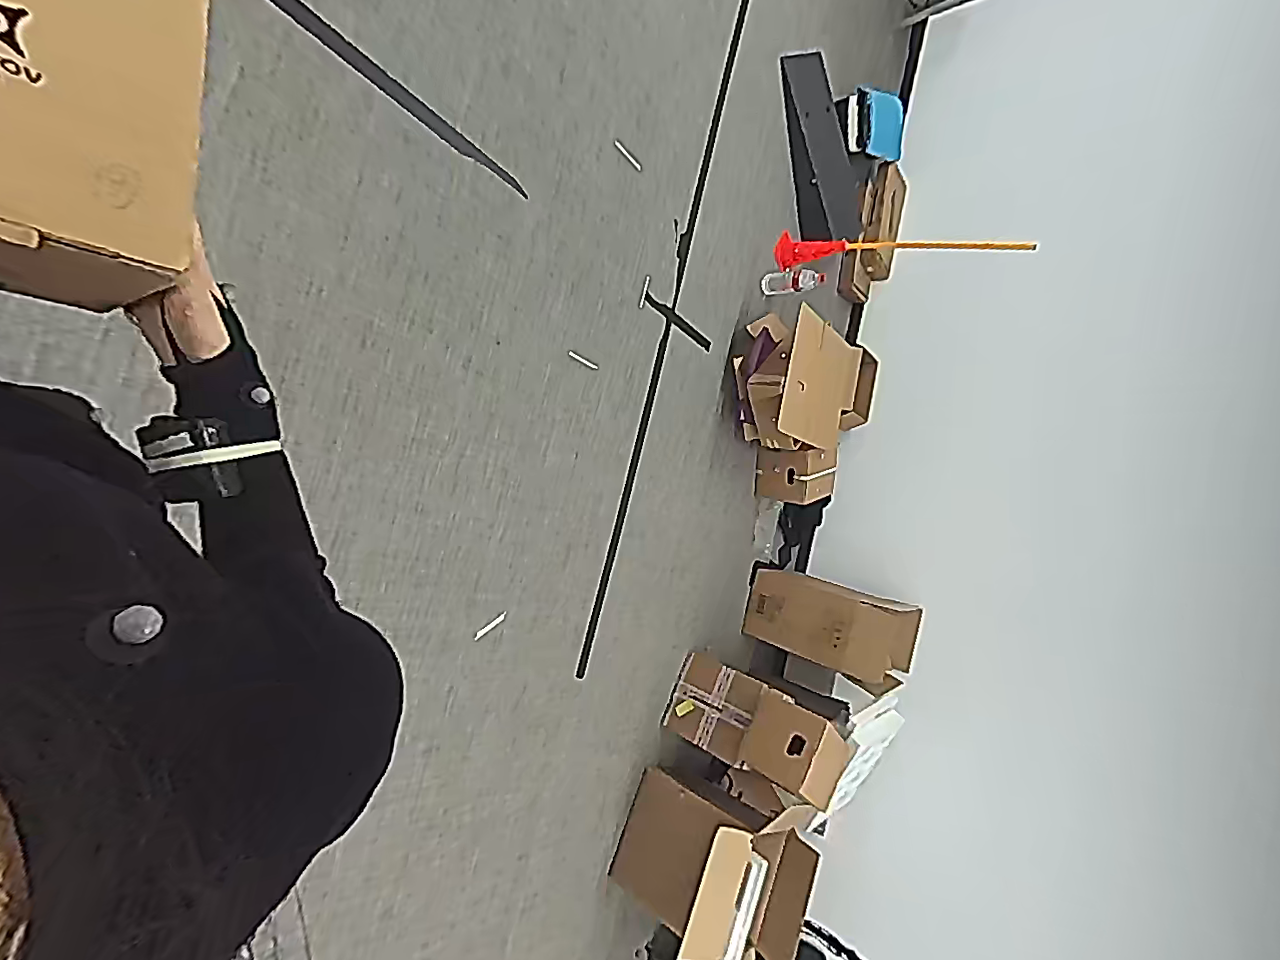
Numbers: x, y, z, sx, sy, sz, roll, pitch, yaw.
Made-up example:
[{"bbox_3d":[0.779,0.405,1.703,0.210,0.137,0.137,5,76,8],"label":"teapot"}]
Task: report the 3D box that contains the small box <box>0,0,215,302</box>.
[{"bbox_3d":[-0.374,-0.213,0.301,0.168,0.176,0.179,5,89,-57],"label":"small box"}]
